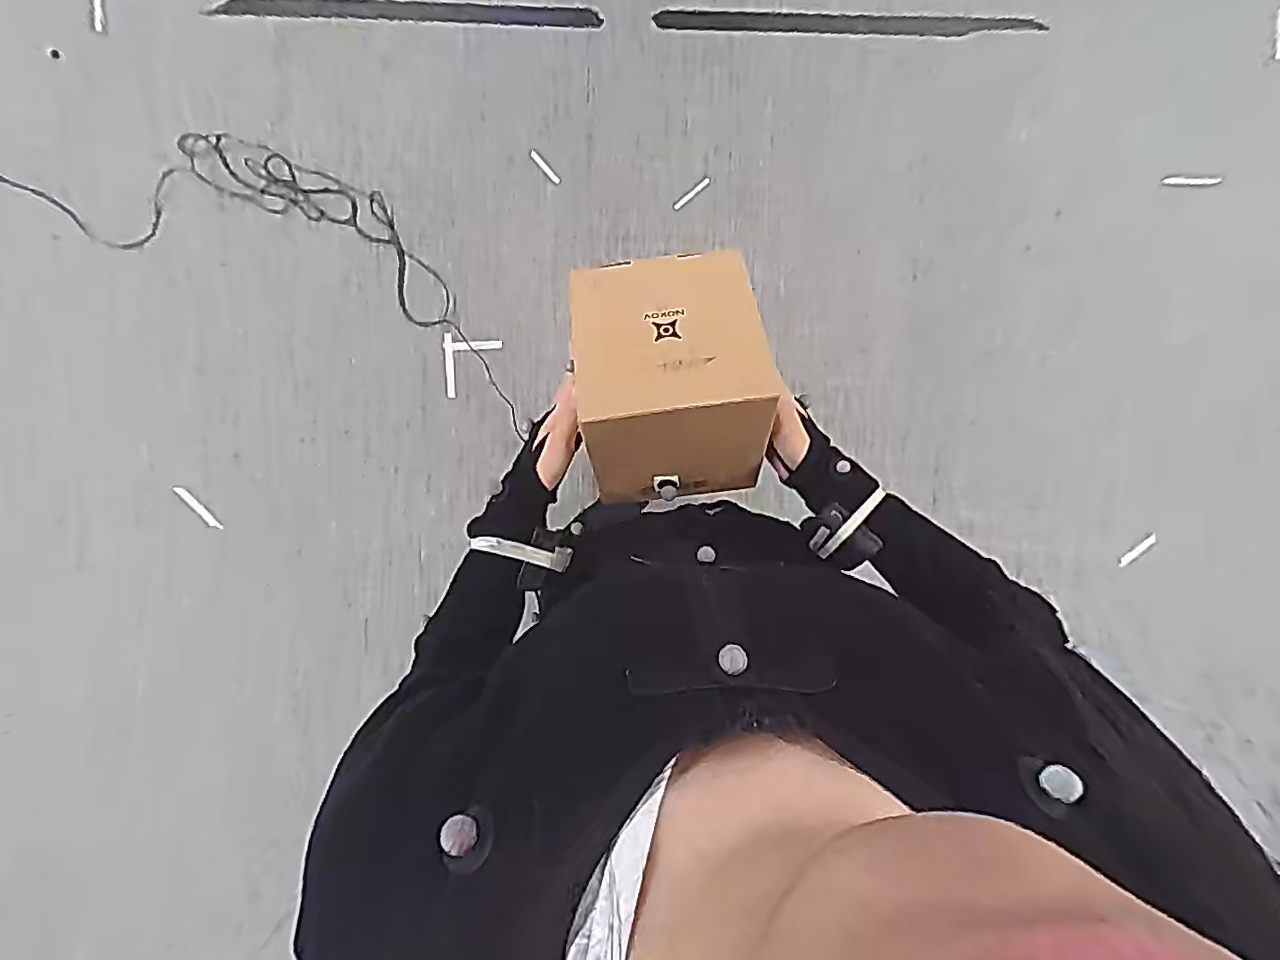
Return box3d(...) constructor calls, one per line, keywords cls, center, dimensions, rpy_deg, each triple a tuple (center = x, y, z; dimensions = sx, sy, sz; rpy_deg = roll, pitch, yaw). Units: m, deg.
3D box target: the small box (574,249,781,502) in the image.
box3d(cls="small box", center=(0.030, -0.097, 0.546), dimensions=(0.168, 0.176, 0.179), rpy_deg=(-8, 63, 1))
